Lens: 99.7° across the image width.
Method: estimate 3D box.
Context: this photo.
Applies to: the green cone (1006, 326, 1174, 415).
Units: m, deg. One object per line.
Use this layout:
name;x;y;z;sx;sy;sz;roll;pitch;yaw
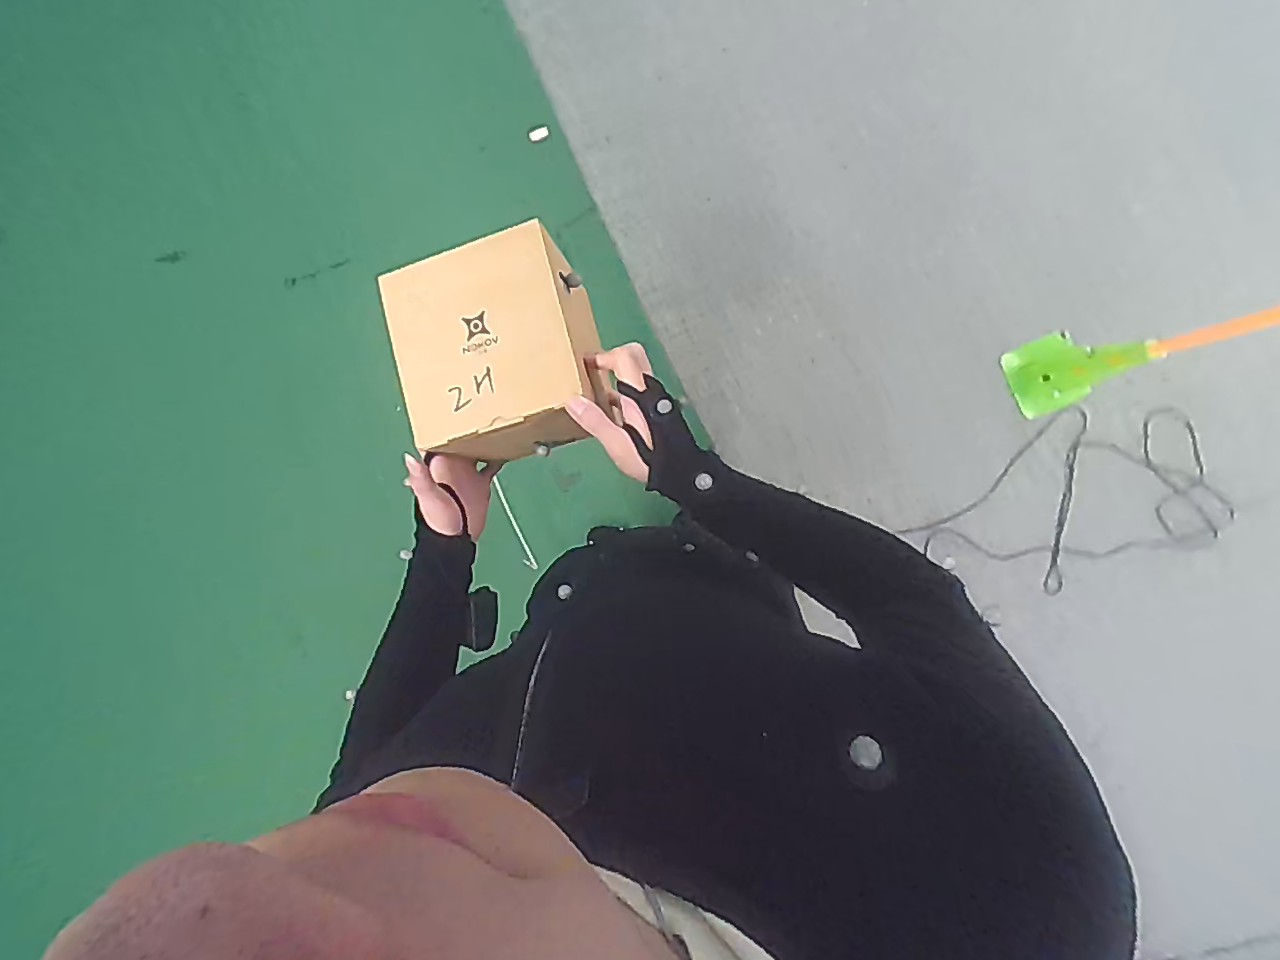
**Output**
green cone;1.140;-0.297;1.346;0.200;0.368;0.202;-25;92;5
